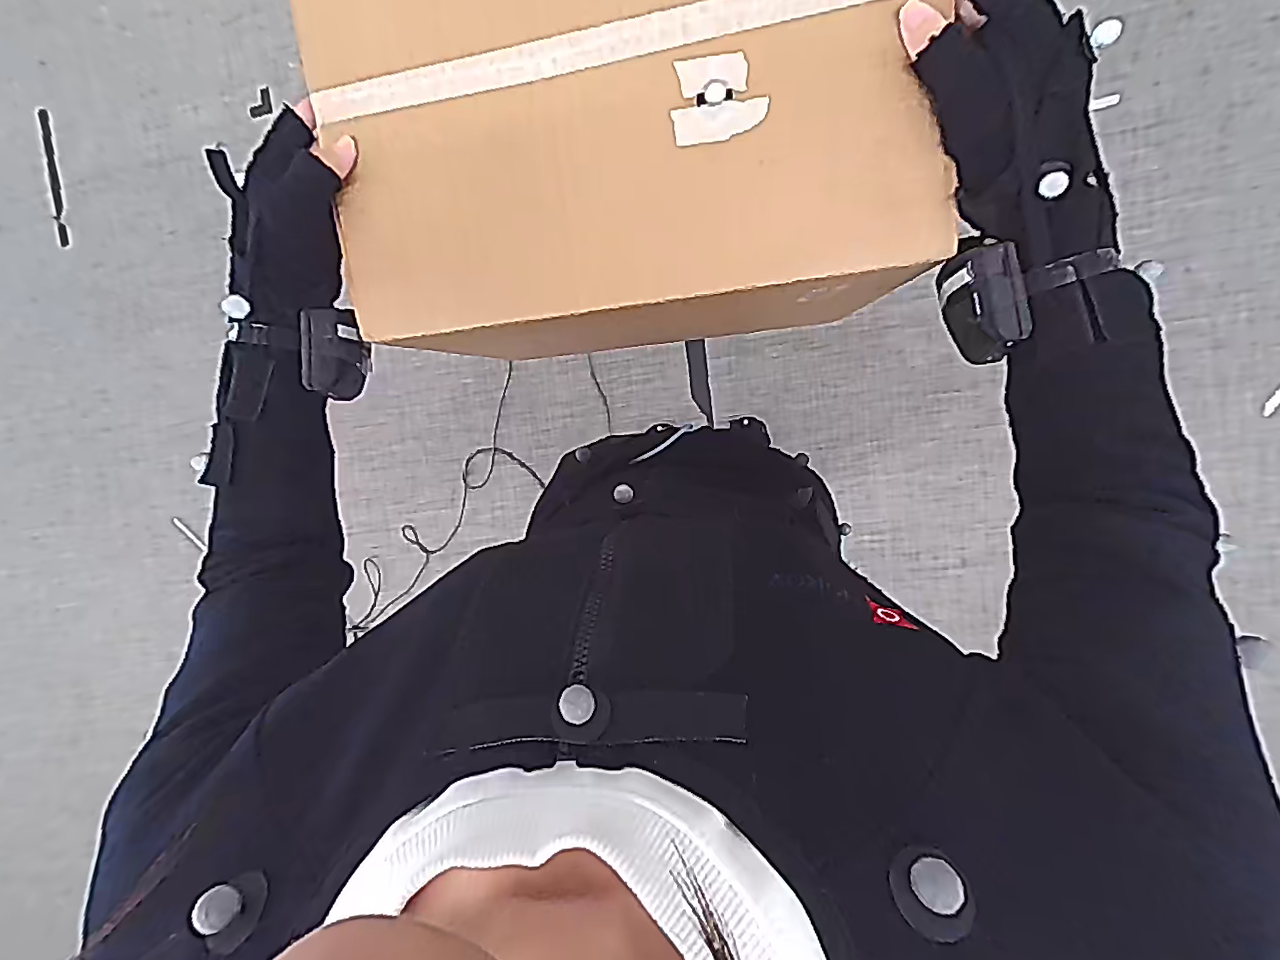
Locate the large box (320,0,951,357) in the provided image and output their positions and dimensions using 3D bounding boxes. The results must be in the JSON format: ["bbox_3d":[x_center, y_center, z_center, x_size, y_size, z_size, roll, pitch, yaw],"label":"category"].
[{"bbox_3d":[0.002,-0.304,0.497,0.408,0.320,0.320,-6,100,8],"label":"large box"}]
